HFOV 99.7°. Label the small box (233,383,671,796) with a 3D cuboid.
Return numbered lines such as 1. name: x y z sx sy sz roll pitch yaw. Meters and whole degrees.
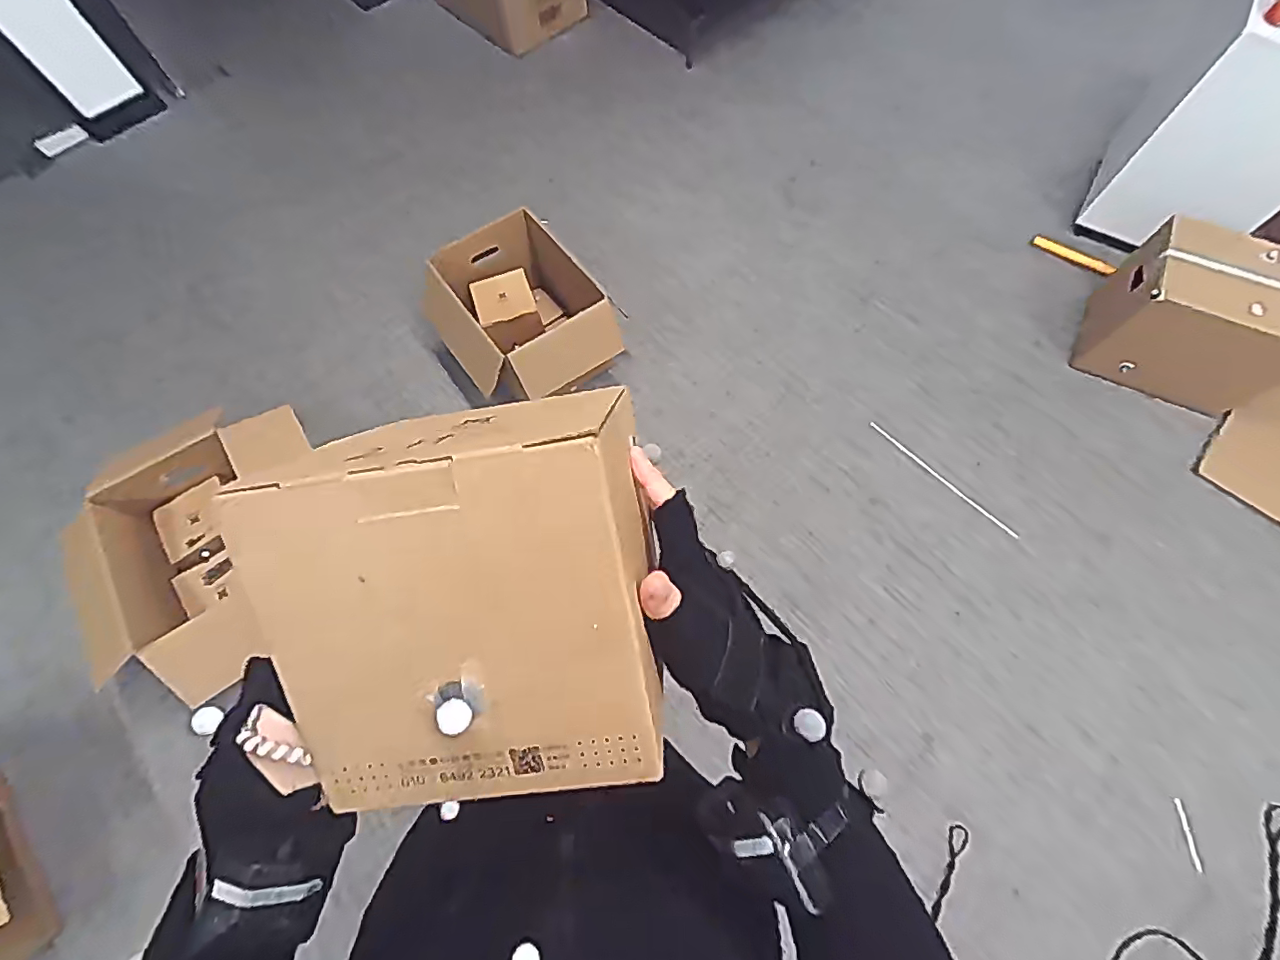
1. small box: -0.076 0.045 0.318 0.168 0.179 0.176 -9 106 5
